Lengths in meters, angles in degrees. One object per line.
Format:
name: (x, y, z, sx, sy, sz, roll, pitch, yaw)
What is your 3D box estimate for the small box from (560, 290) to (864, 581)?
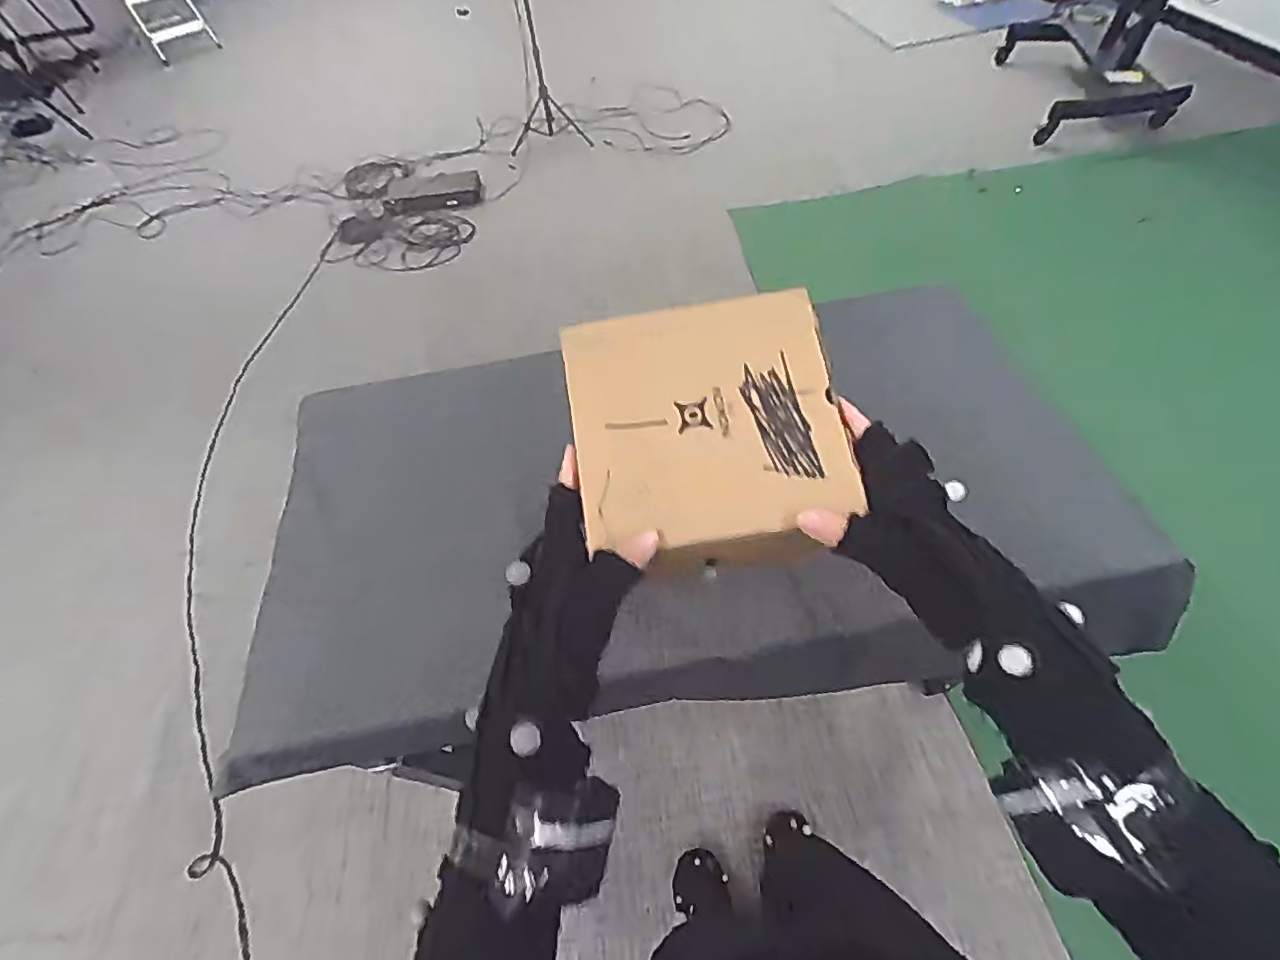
small box: (0.042, -0.021, 0.433, 0.179, 0.176, 0.168, -11, 73, -3)
